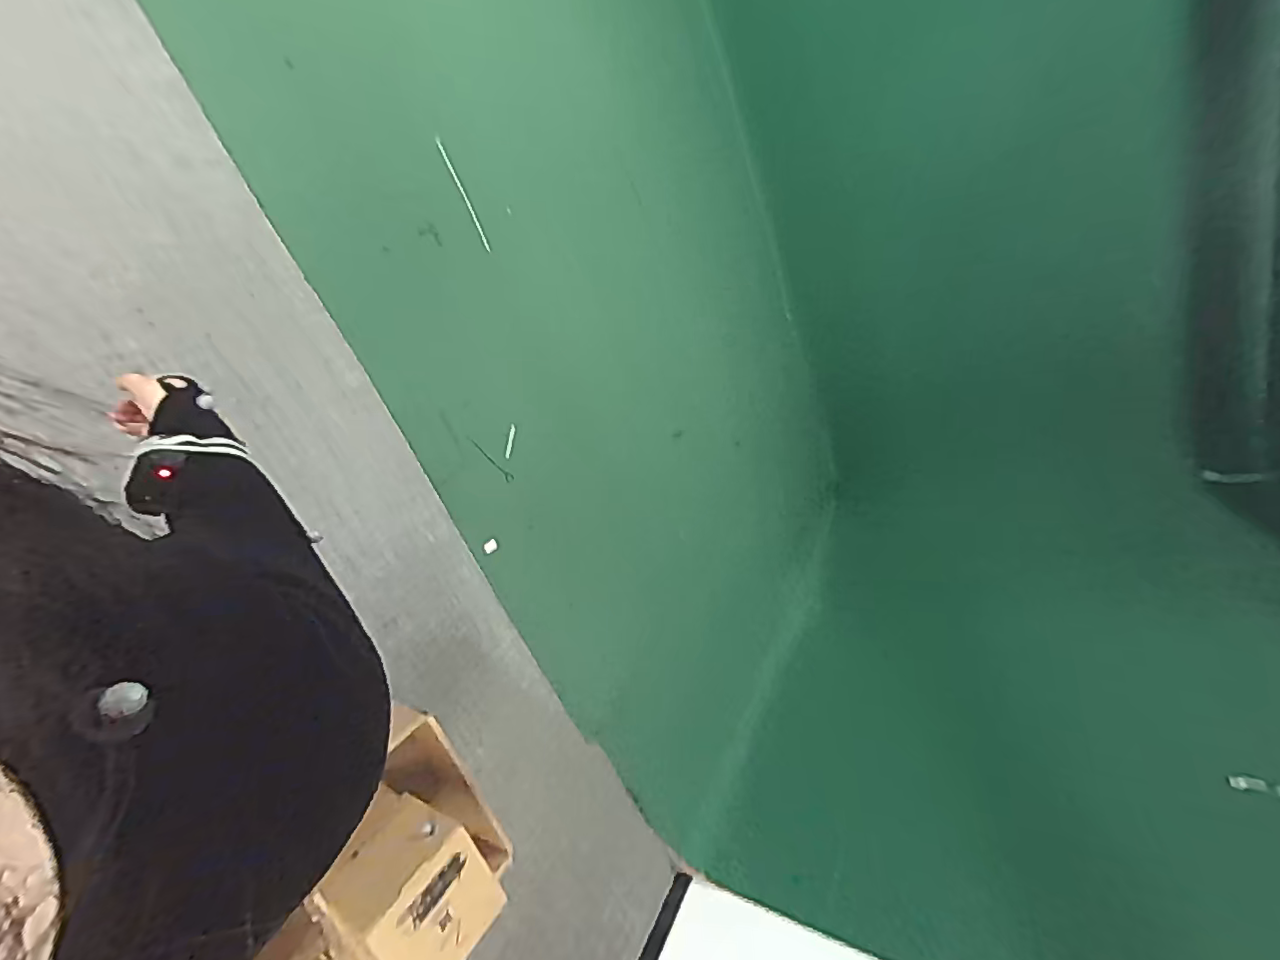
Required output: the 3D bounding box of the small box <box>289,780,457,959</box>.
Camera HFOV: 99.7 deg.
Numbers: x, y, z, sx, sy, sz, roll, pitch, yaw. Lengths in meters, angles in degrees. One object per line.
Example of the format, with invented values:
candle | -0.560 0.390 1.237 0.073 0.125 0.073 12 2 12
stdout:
small box | -0.460 0.660 0.934 0.168 0.176 0.179 -41 116 -44
